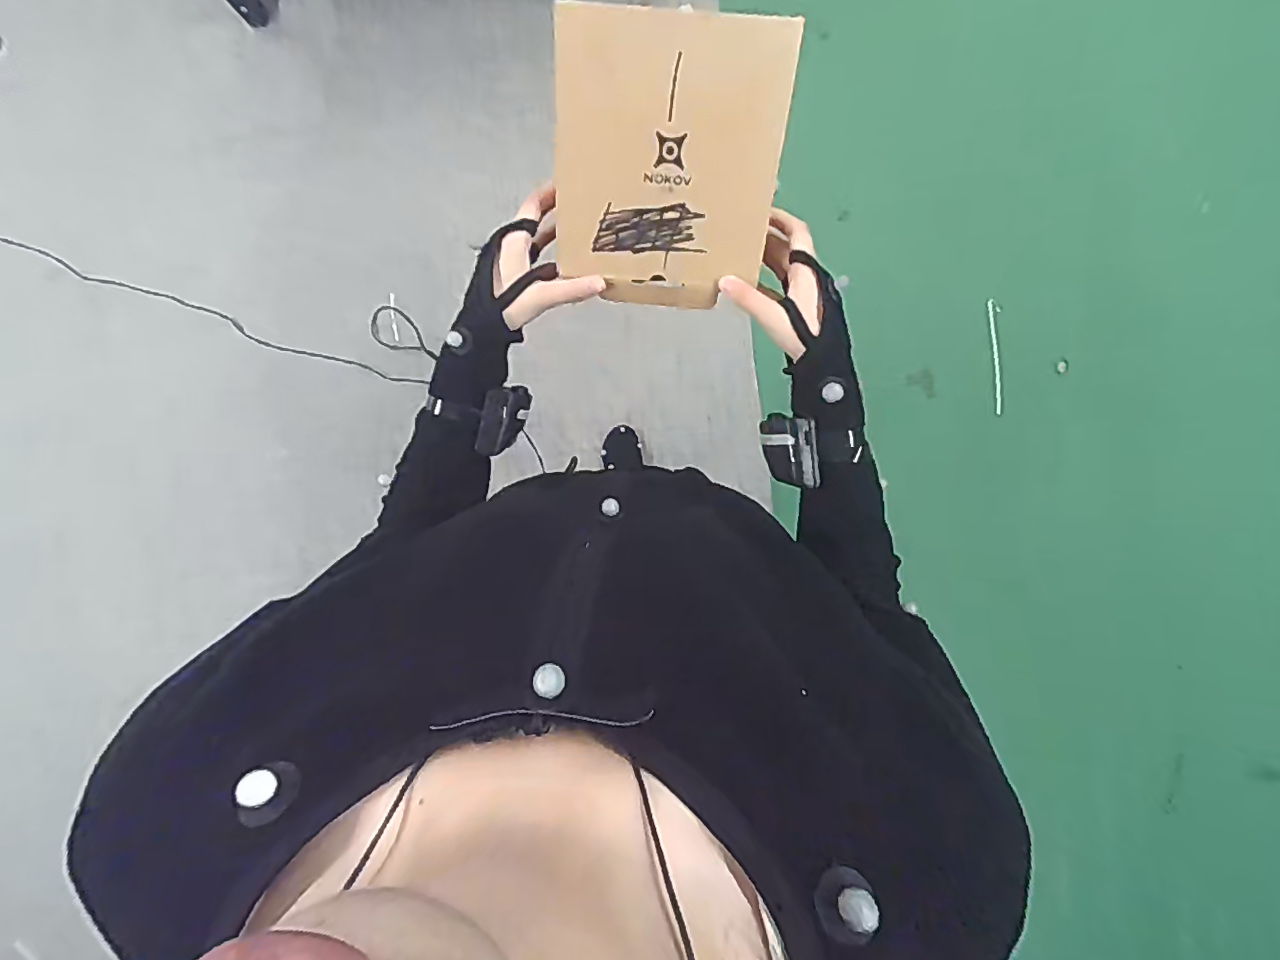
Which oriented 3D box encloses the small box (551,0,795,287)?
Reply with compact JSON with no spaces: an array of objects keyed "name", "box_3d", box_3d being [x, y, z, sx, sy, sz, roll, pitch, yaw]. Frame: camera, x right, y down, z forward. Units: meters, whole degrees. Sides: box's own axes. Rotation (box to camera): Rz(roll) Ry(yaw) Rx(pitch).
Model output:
[{"name":"small box","box_3d":[0.019,-0.284,0.467,0.168,0.176,0.179,5,123,-1]}]
